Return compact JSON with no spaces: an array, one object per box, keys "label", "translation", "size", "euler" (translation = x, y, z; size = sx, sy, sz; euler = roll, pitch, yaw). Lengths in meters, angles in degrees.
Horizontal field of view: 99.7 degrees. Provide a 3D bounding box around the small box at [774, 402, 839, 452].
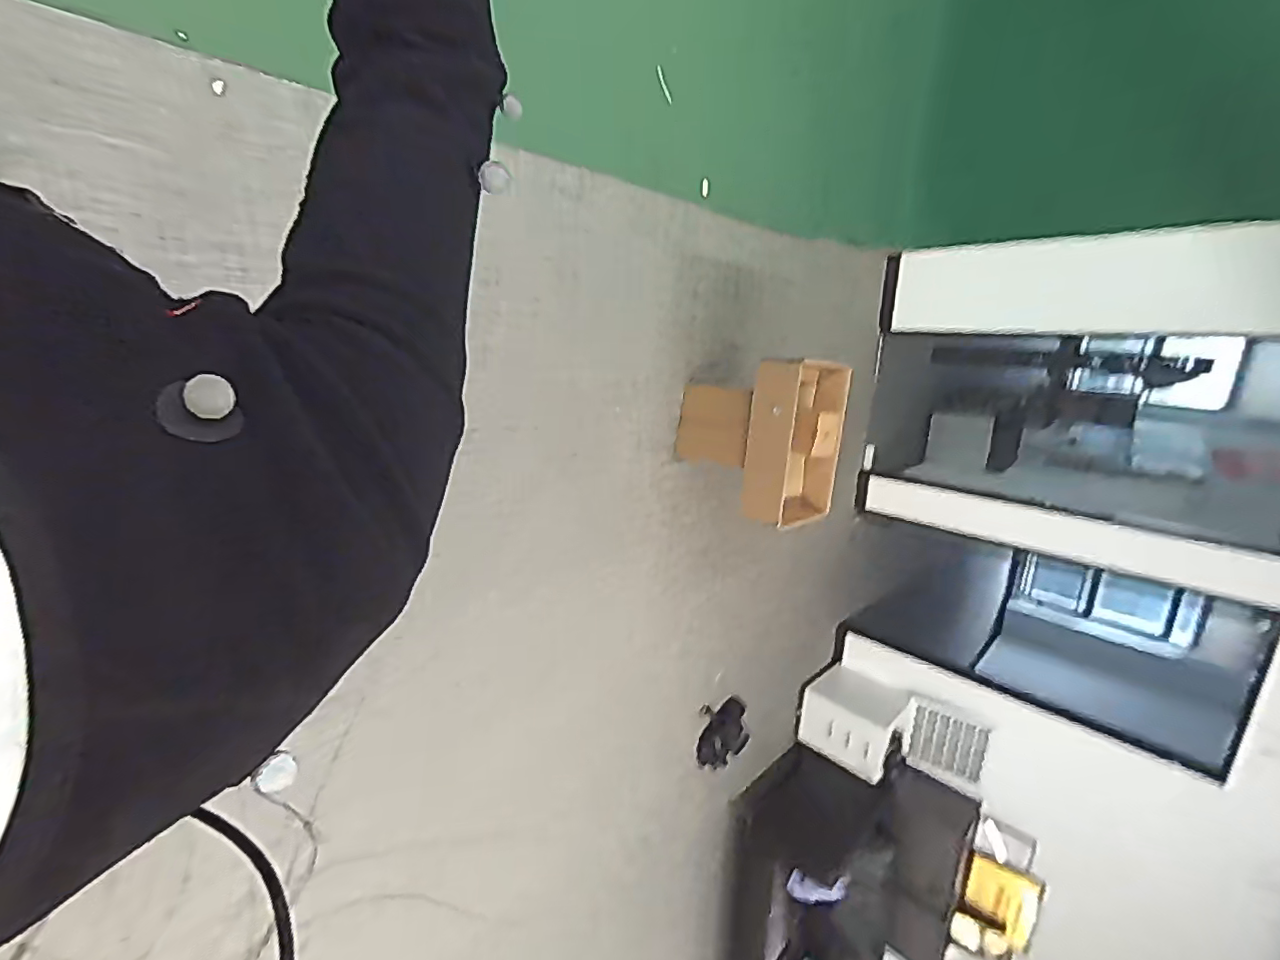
[{"label":"small box","translation":[0.636,-0.204,2.074],"size":[0.179,0.176,0.168],"euler":[-7,109,-47]}]
